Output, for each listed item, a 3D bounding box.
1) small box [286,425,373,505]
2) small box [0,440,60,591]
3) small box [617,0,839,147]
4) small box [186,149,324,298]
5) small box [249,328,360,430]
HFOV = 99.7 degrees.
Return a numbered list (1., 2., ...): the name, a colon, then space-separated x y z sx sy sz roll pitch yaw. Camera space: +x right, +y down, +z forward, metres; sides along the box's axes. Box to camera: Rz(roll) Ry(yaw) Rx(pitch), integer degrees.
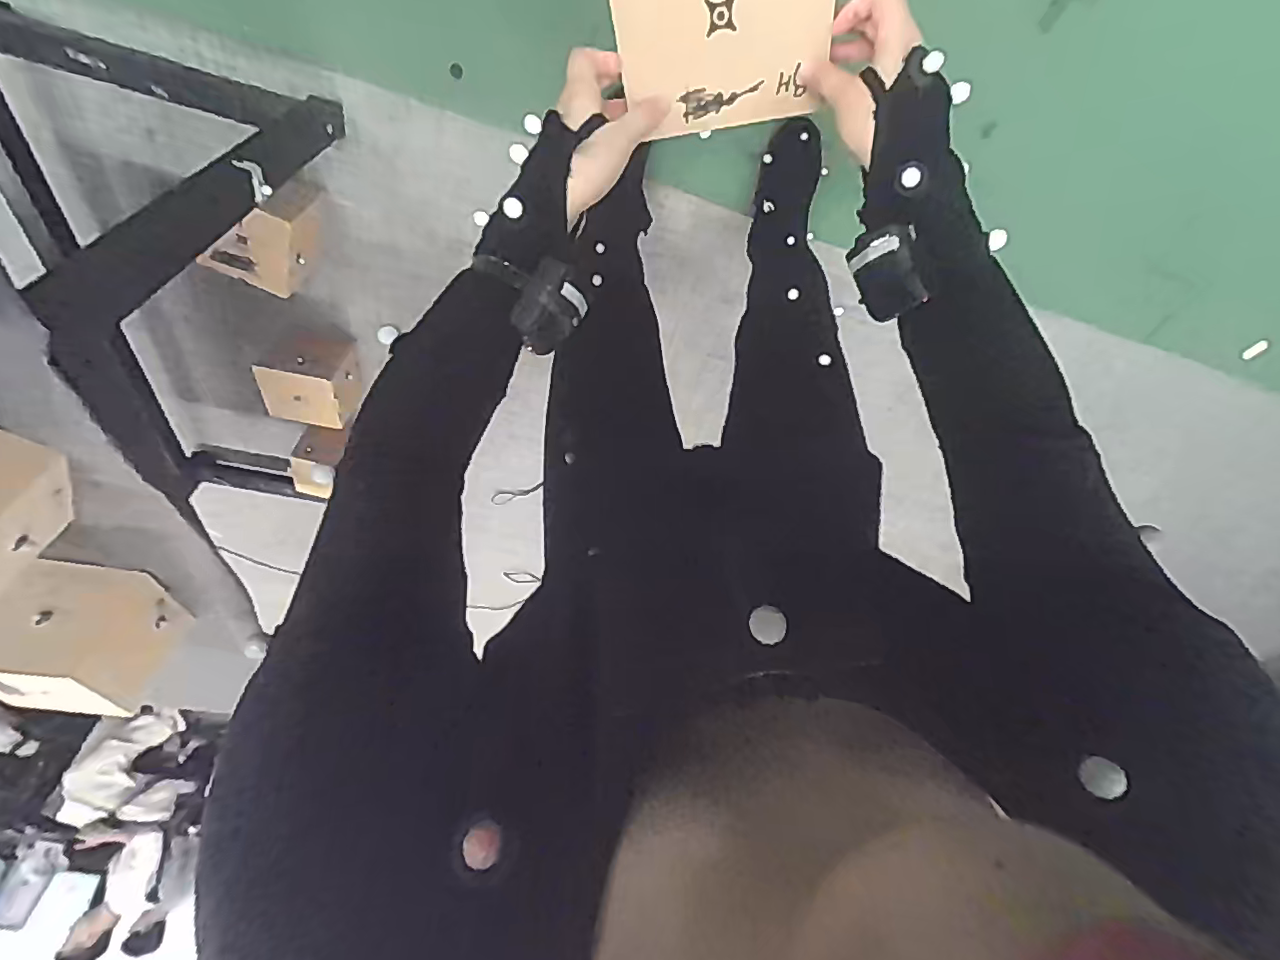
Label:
1. small box: -0.899 -0.056 1.586 0.179 0.176 0.168 16 138 -14
2. small box: -0.771 0.039 0.568 0.179 0.176 0.168 30 132 -24
3. small box: 0.066 -0.417 0.447 0.168 0.176 0.179 -4 145 9
4. small box: -0.744 -0.502 1.060 0.168 0.176 0.179 21 134 -21
5. small box: -0.821 -0.255 1.350 0.179 0.176 0.168 11 138 -9
